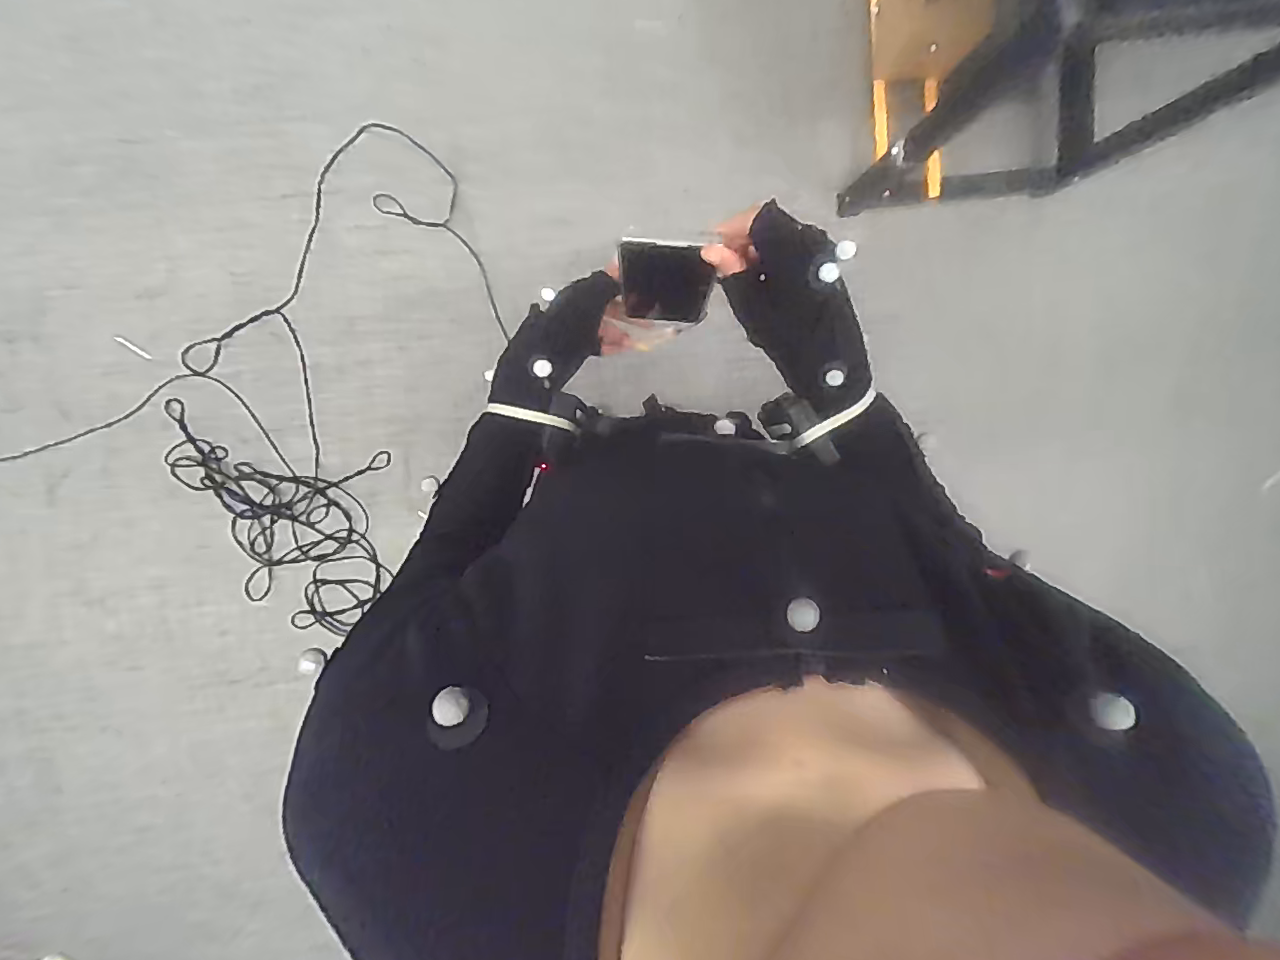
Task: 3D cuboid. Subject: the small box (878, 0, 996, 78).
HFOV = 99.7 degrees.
[{"bbox_3d":[0.638,-1.013,1.178,0.179,0.176,0.168,-3,98,-2],"label":"small box"}]
